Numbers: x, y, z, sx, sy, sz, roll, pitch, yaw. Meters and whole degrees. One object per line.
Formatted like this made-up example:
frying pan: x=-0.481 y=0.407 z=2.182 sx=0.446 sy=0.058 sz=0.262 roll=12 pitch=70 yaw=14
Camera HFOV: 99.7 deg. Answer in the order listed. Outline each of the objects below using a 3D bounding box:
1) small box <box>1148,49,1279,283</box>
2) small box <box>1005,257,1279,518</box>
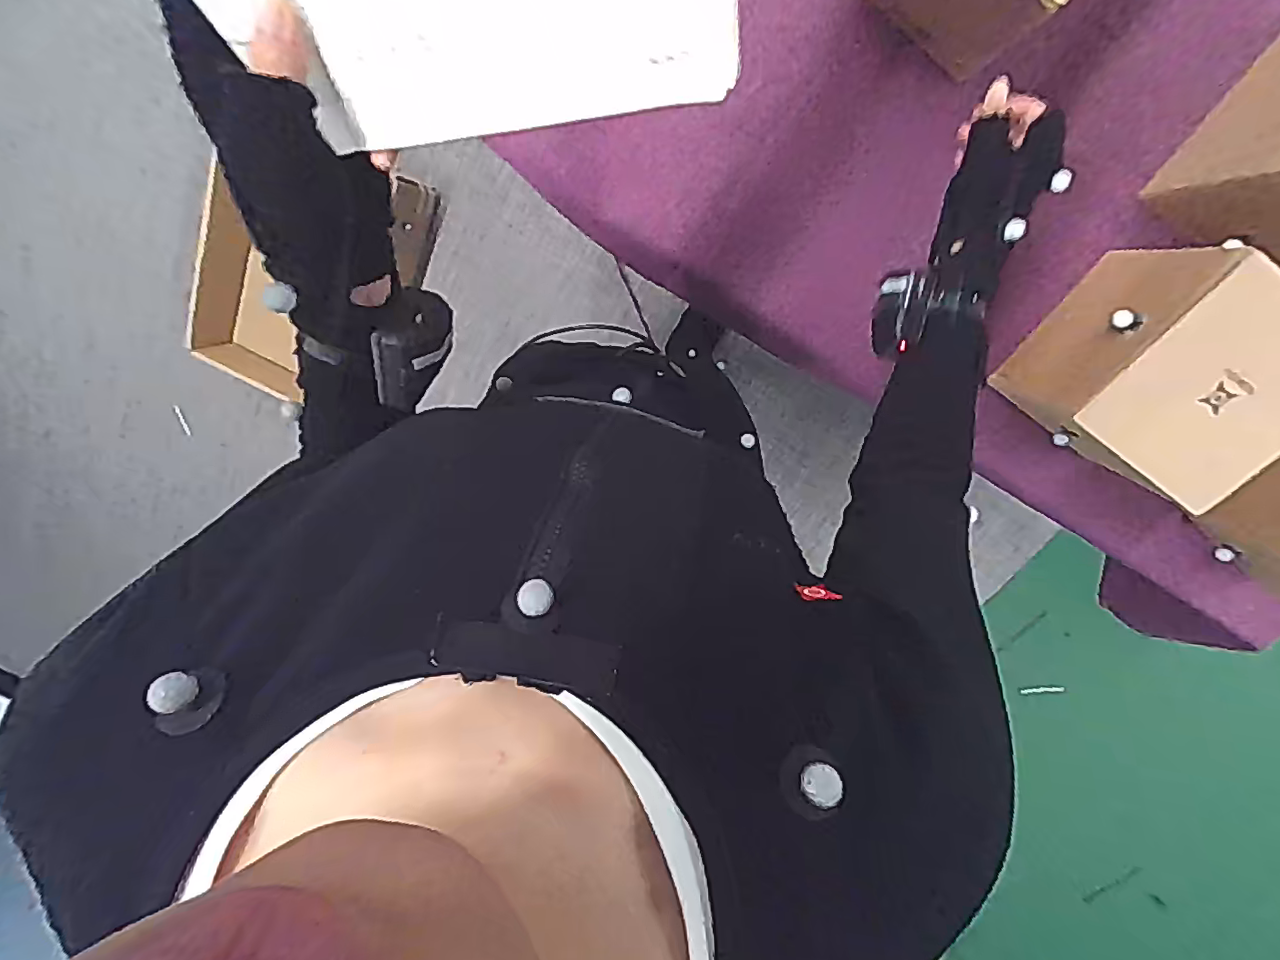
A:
small box: x=0.615 y=-0.281 z=0.460 sx=0.168 sy=0.176 sz=0.179 roll=32 pitch=112 yaw=-6
small box: x=0.515 y=-0.100 z=0.547 sx=0.168 sy=0.176 sz=0.179 roll=35 pitch=112 yaw=-7
